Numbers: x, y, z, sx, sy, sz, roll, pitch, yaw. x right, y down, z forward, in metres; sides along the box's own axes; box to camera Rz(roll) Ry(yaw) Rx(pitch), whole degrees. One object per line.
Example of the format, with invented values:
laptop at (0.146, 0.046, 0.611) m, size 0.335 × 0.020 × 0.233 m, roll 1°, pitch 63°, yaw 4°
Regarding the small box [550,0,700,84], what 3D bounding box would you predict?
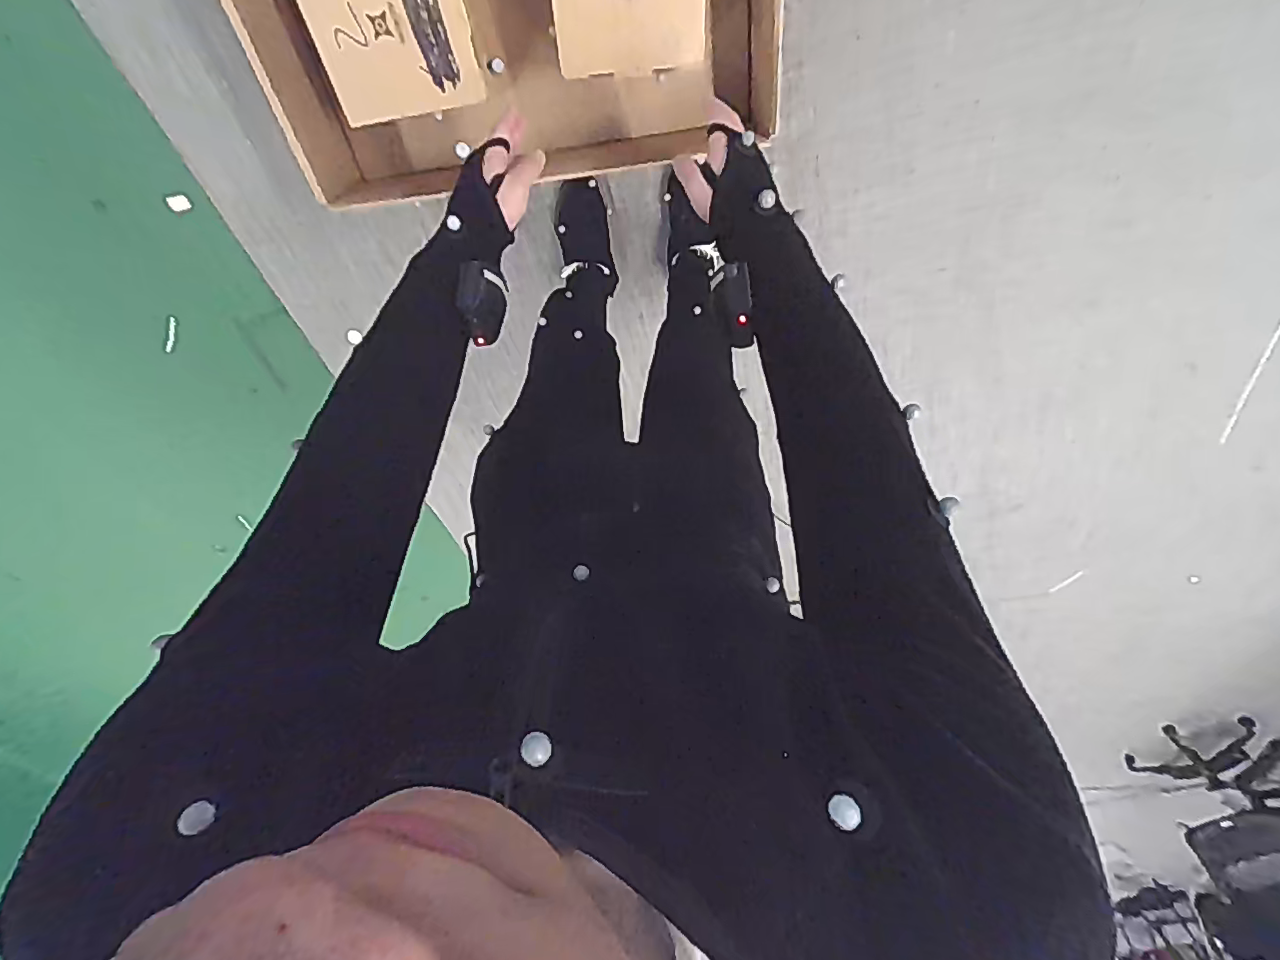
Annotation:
small box at (-0.016, -0.581, 0.625) m, size 0.168 × 0.176 × 0.179 m, roll -3°, pitch 132°, yaw 2°
